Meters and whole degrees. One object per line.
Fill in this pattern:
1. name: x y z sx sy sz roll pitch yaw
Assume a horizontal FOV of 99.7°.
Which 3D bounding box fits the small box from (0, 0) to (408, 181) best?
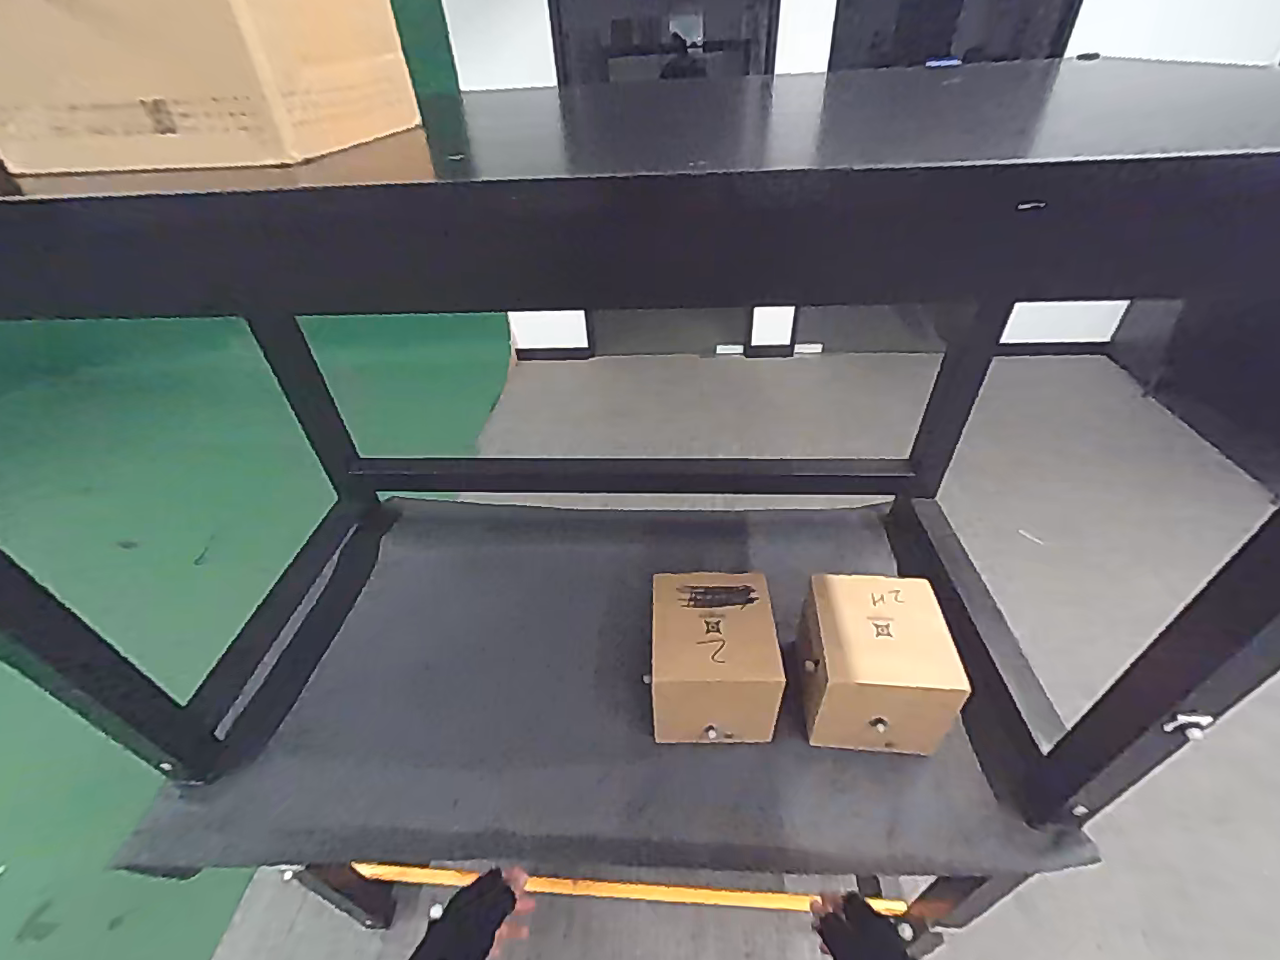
1. small box: -0.262 -0.278 0.311 0.168 0.176 0.179 1 39 6
